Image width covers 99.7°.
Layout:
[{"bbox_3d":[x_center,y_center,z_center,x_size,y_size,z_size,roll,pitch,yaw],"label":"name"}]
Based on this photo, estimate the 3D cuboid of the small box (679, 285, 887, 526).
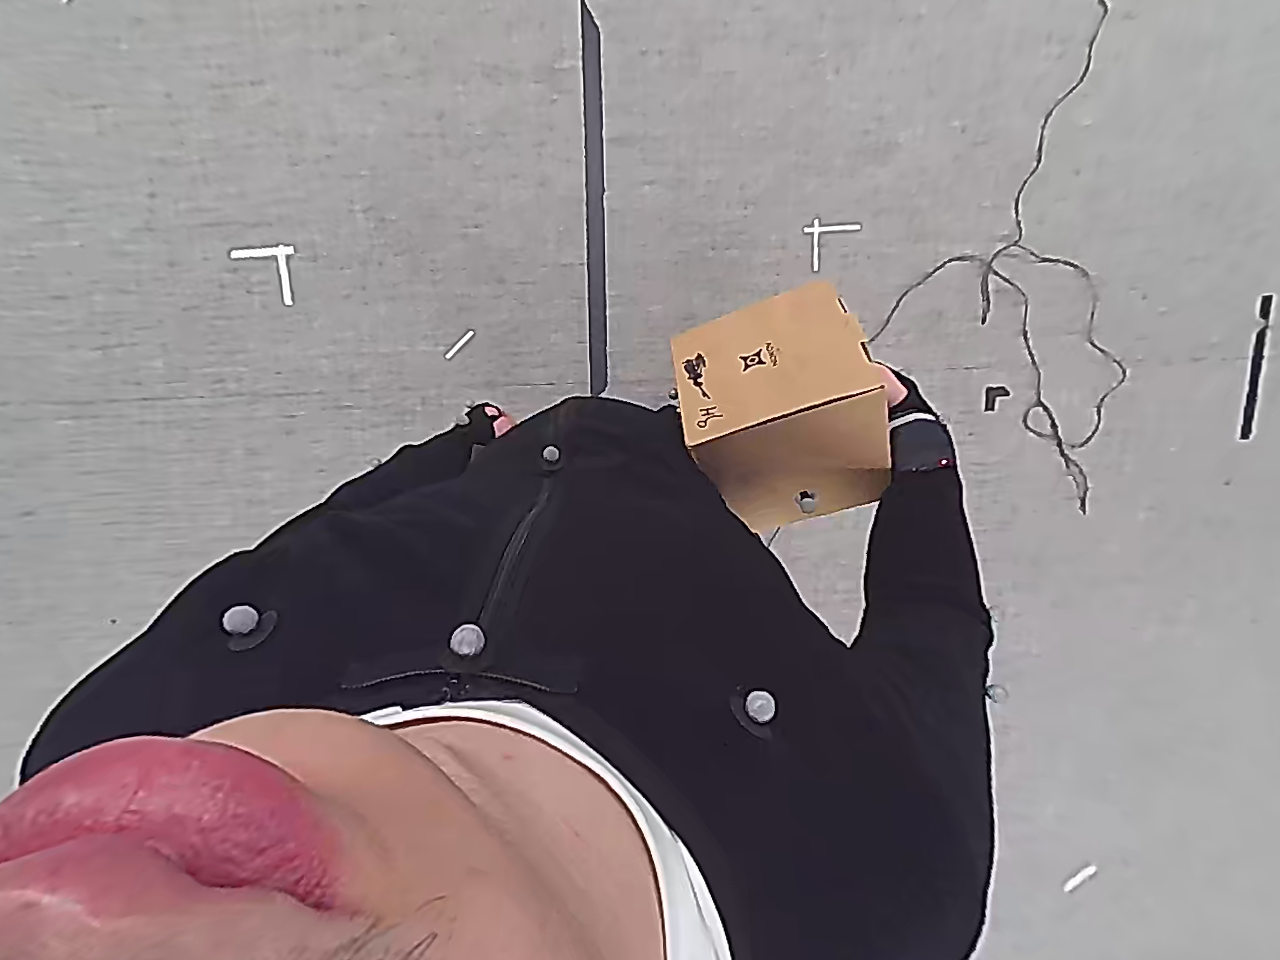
[{"bbox_3d":[0.156,-0.074,0.595,0.179,0.168,0.176,-17,138,14],"label":"small box"}]
